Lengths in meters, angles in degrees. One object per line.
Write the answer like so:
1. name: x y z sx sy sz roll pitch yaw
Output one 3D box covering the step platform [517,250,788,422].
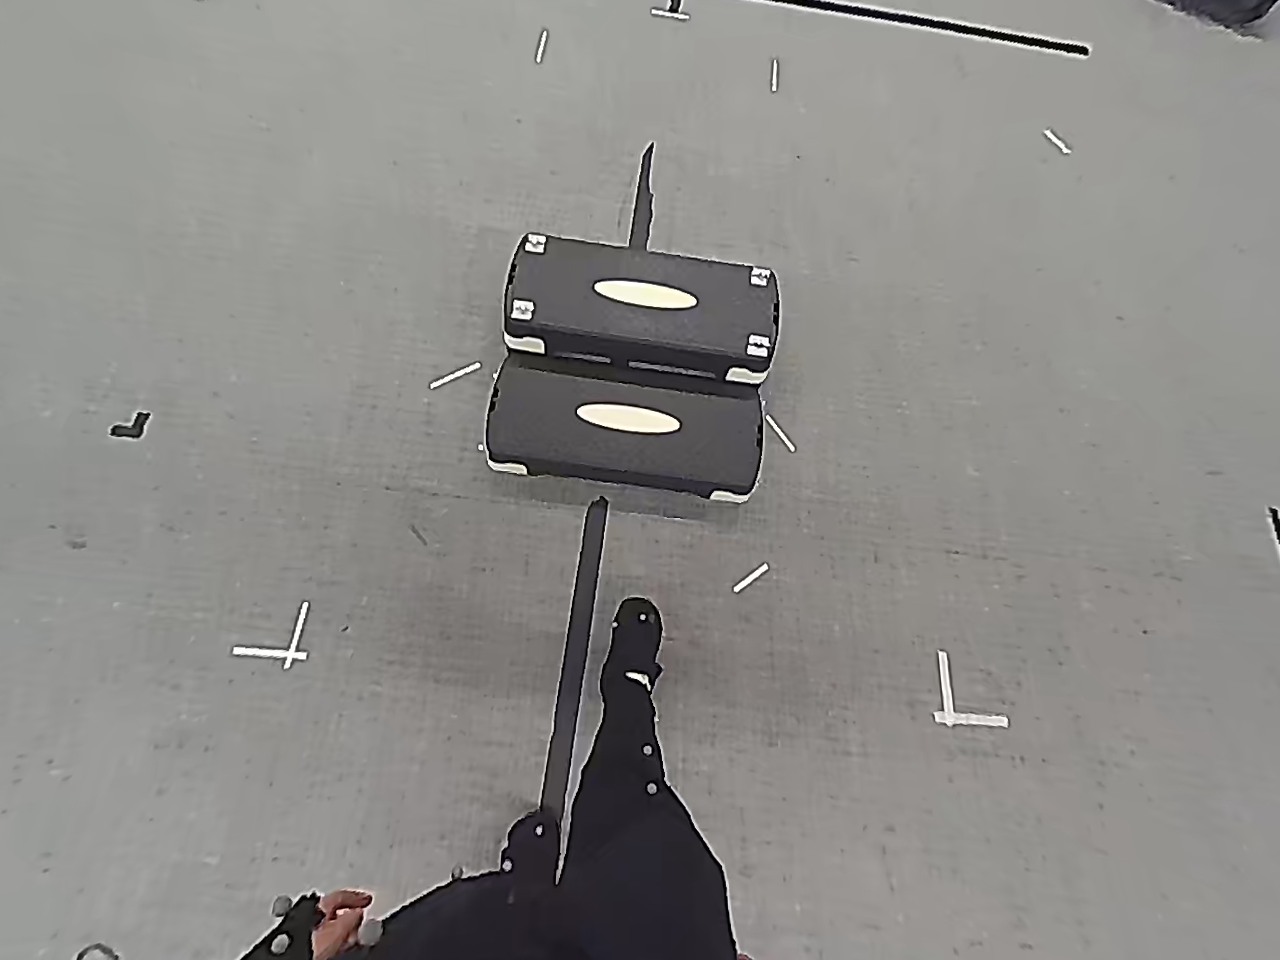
1. step platform: 0.033 -0.371 1.409 0.684 0.204 0.286 12 69 -2
